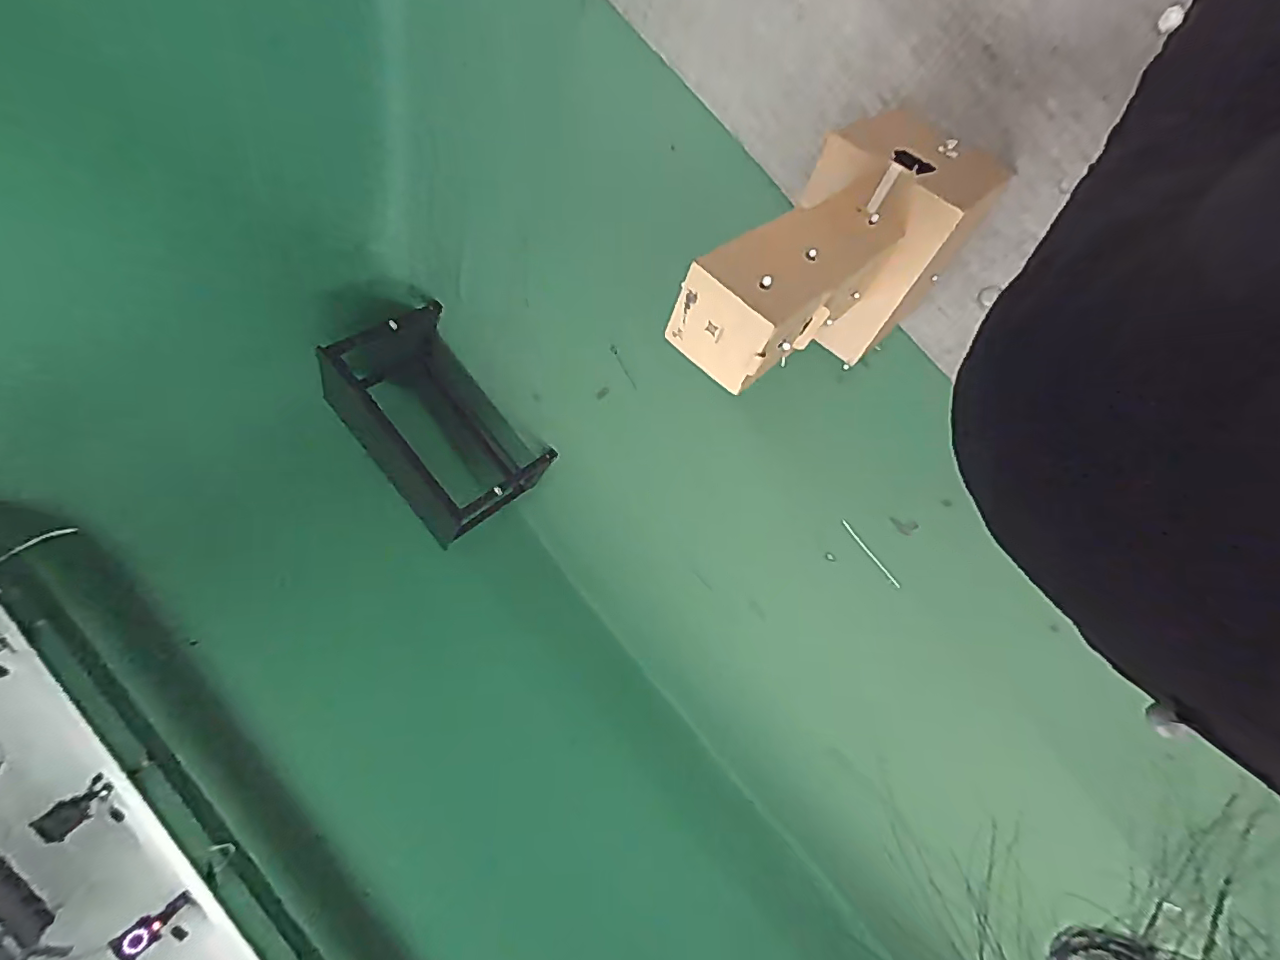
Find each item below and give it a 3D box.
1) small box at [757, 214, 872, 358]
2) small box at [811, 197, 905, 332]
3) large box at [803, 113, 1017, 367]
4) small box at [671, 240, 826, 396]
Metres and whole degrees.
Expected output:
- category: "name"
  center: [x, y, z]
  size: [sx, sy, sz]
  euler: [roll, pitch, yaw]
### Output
- category: "small box"
  center: [0.301, -0.373, 1.027]
  size: [0.179, 0.176, 0.168]
  euler: [44, 147, 11]
- category: "small box"
  center: [0.411, -0.449, 1.122]
  size: [0.168, 0.176, 0.179]
  euler: [43, 146, 12]
- category: "large box"
  center: [0.570, -0.560, 1.274]
  size: [0.320, 0.320, 0.408]
  euler: [43, 148, 17]
- category: "small box"
  center: [0.189, -0.287, 0.943]
  size: [0.179, 0.176, 0.168]
  euler: [42, 146, 11]
